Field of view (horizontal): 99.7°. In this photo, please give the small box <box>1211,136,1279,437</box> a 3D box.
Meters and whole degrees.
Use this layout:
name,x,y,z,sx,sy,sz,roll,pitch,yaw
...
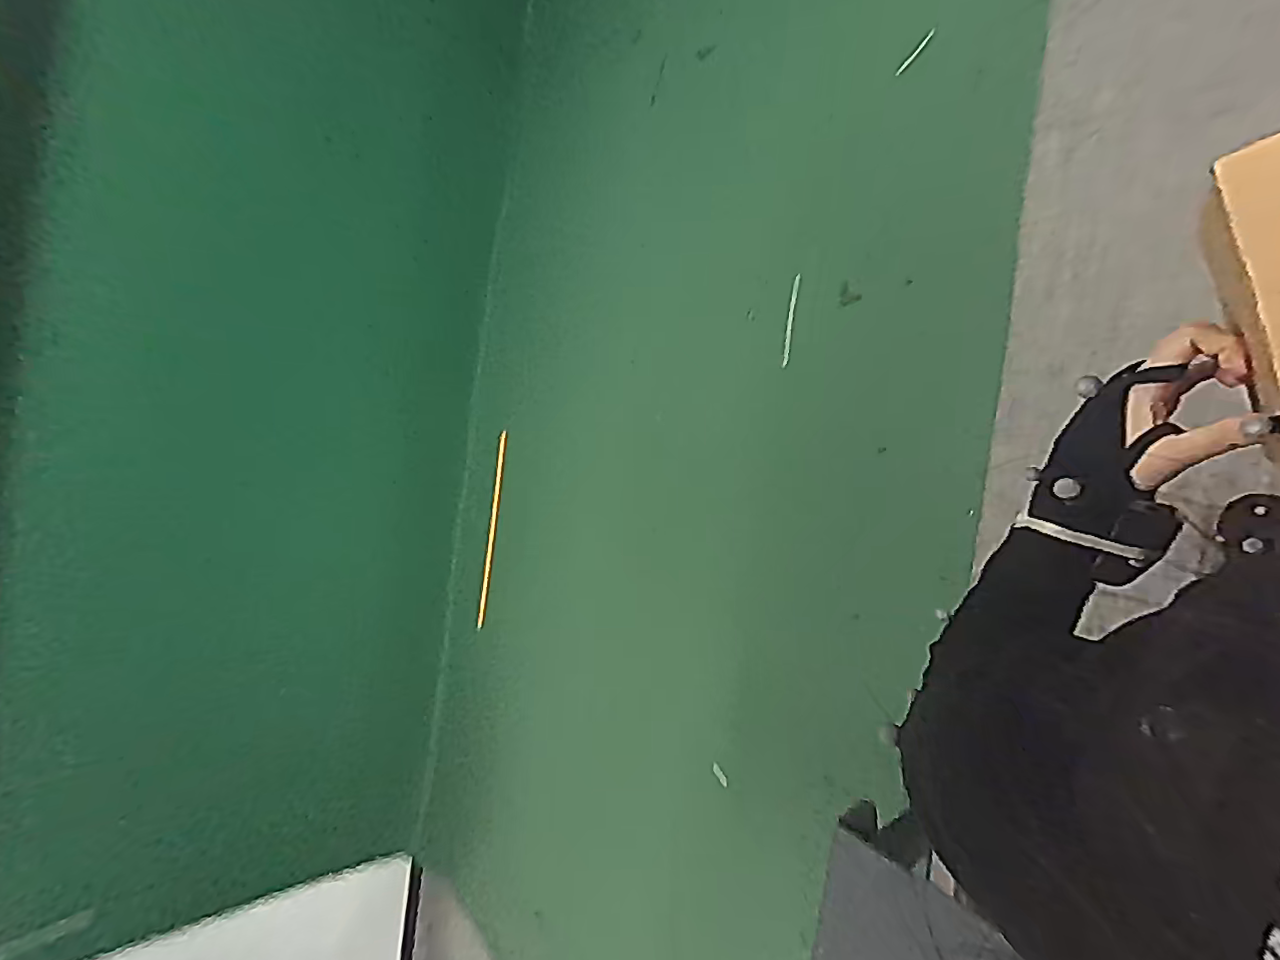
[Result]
name,x,y,z,sx,sy,sz,roll,pitch,yaw
small box,0.420,-0.105,0.265,0.168,0.176,0.179,-16,90,46
